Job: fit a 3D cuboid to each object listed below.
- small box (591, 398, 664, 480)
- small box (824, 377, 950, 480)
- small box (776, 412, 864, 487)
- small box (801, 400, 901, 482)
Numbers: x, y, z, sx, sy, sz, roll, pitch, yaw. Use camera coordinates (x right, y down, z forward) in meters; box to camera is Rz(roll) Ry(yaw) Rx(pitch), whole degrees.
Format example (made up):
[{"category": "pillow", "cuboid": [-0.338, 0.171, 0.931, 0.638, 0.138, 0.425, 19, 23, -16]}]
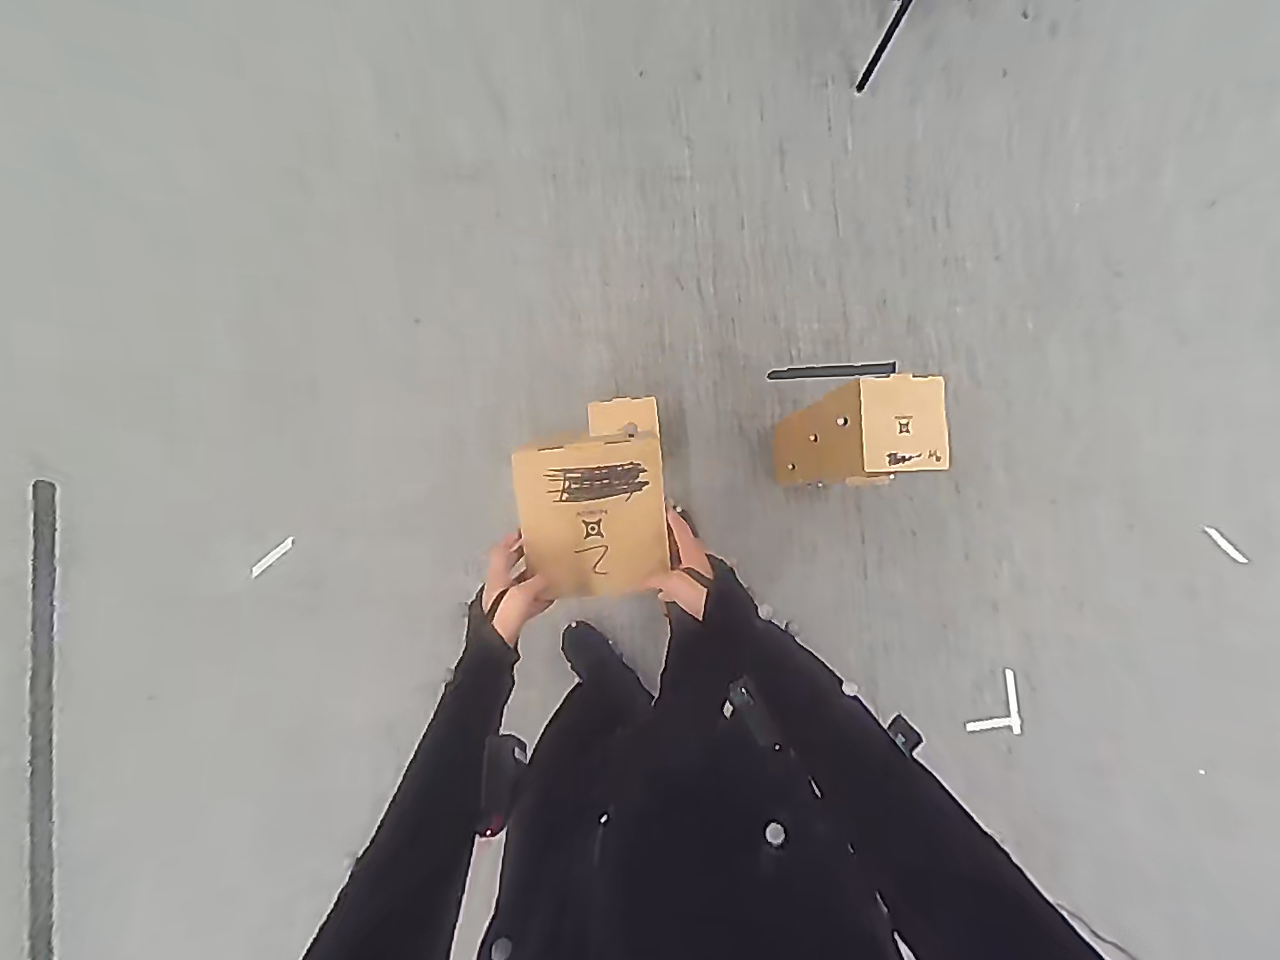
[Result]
[{"category": "small box", "cuboid": [-0.035, -0.097, 1.356, 0.168, 0.176, 0.179, -5, 86, -3]}, {"category": "small box", "cuboid": [0.475, -0.096, 1.063, 0.168, 0.176, 0.179, -1, 86, -4]}, {"category": "small box", "cuboid": [0.457, -0.073, 1.391, 0.168, 0.176, 0.179, -1, 87, -5]}, {"category": "small box", "cuboid": [0.476, -0.084, 1.228, 0.168, 0.176, 0.179, -1, 86, -5]}]
